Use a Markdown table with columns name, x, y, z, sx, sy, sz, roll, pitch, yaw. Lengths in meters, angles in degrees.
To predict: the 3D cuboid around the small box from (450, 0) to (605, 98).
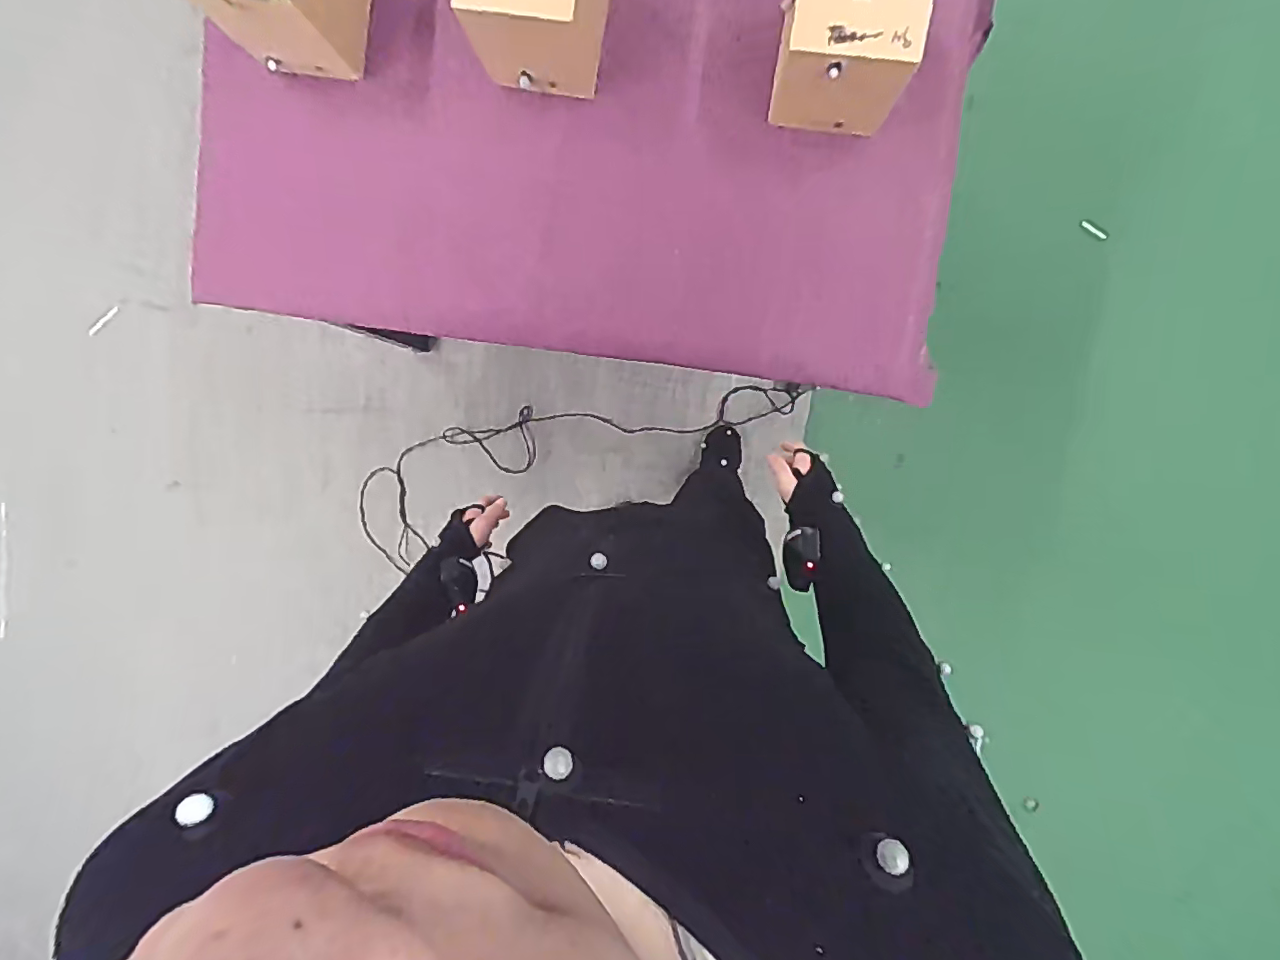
| name | x | y | z | sx | sy | sz | roll | pitch | yaw |
| --- | --- | --- | --- | --- | --- | --- | --- | --- | --- |
| small box | -0.148 | -0.689 | 0.762 | 0.168 | 0.176 | 0.179 | 11 | 97 | 2 |

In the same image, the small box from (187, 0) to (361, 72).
| name | x | y | z | sx | sy | sz | roll | pitch | yaw |
| --- | --- | --- | --- | --- | --- | --- | --- | --- | --- |
| small box | -0.523 | -0.730 | 0.772 | 0.168 | 0.176 | 0.179 | 9 | 97 | 1 |

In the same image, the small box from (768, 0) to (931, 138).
| name | x | y | z | sx | sy | sz | roll | pitch | yaw |
| --- | --- | --- | --- | --- | --- | --- | --- | --- | --- |
| small box | 0.282 | -0.615 | 0.745 | 0.168 | 0.176 | 0.179 | 9 | 96 | 3 |
